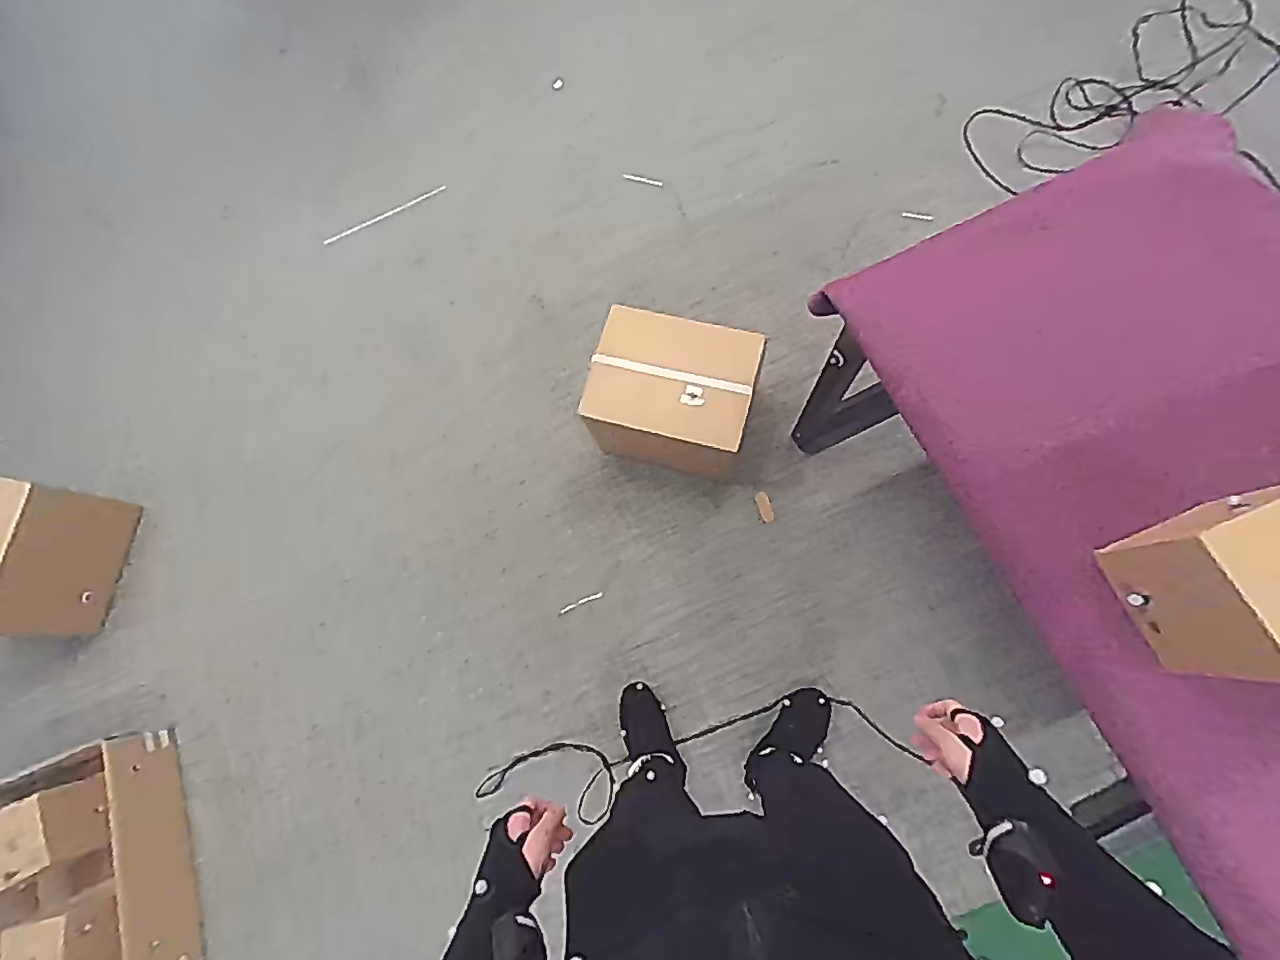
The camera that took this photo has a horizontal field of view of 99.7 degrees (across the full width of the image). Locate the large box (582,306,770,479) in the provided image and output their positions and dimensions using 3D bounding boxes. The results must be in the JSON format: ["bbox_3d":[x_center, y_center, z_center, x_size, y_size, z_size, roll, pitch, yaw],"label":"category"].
[{"bbox_3d":[0.099,-0.222,1.454,0.408,0.320,0.320,14,79,9],"label":"large box"}]

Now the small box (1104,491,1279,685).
[{"bbox_3d":[0.699,0.113,0.609,0.179,0.176,0.168,-23,74,0],"label":"small box"}]

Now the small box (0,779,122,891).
[{"bbox_3d":[-1.492,0.894,1.381,0.168,0.176,0.179,-28,75,-1],"label":"small box"}]
